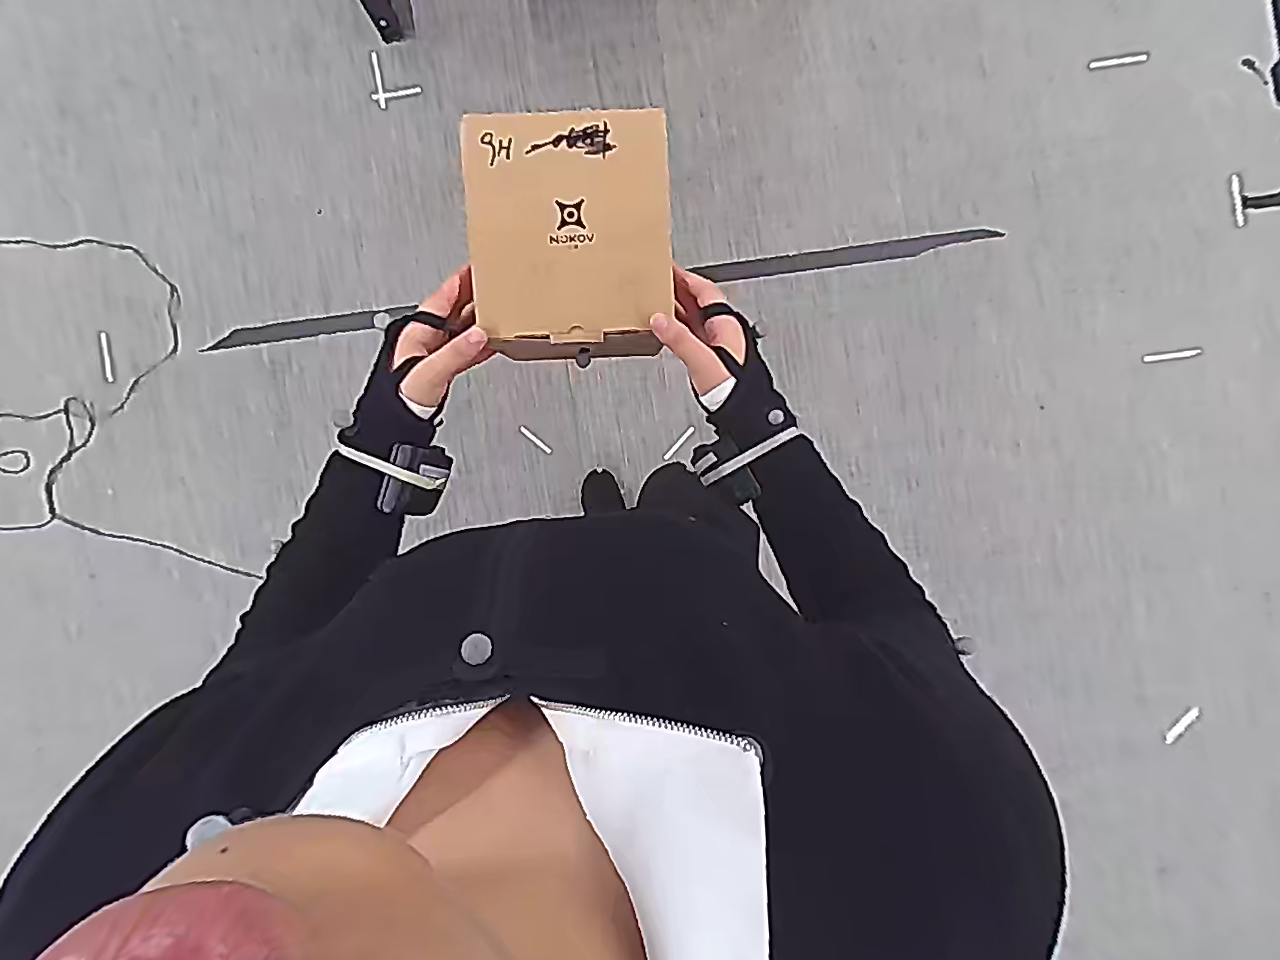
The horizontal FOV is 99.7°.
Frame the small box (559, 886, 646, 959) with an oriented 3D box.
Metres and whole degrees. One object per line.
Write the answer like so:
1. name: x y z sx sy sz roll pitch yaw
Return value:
1. small box: -0.075 1.033 1.173 0.168 0.176 0.179 -5 91 1
